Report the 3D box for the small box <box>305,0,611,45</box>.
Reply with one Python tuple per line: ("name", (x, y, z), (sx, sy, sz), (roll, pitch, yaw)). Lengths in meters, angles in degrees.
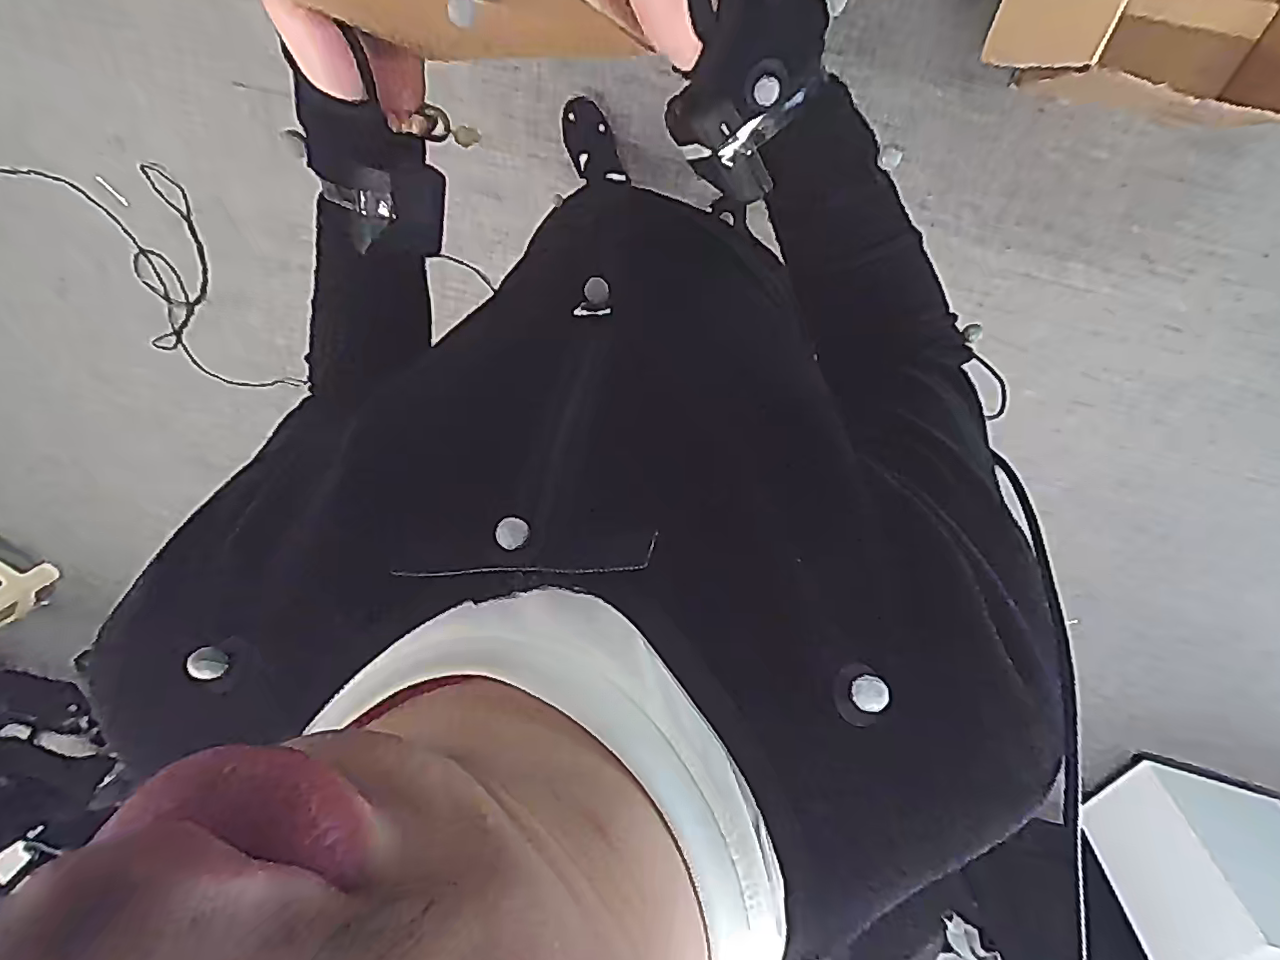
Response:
("small box", (-0.102, -0.293, 0.201), (0.179, 0.176, 0.168), (21, 116, 26))
